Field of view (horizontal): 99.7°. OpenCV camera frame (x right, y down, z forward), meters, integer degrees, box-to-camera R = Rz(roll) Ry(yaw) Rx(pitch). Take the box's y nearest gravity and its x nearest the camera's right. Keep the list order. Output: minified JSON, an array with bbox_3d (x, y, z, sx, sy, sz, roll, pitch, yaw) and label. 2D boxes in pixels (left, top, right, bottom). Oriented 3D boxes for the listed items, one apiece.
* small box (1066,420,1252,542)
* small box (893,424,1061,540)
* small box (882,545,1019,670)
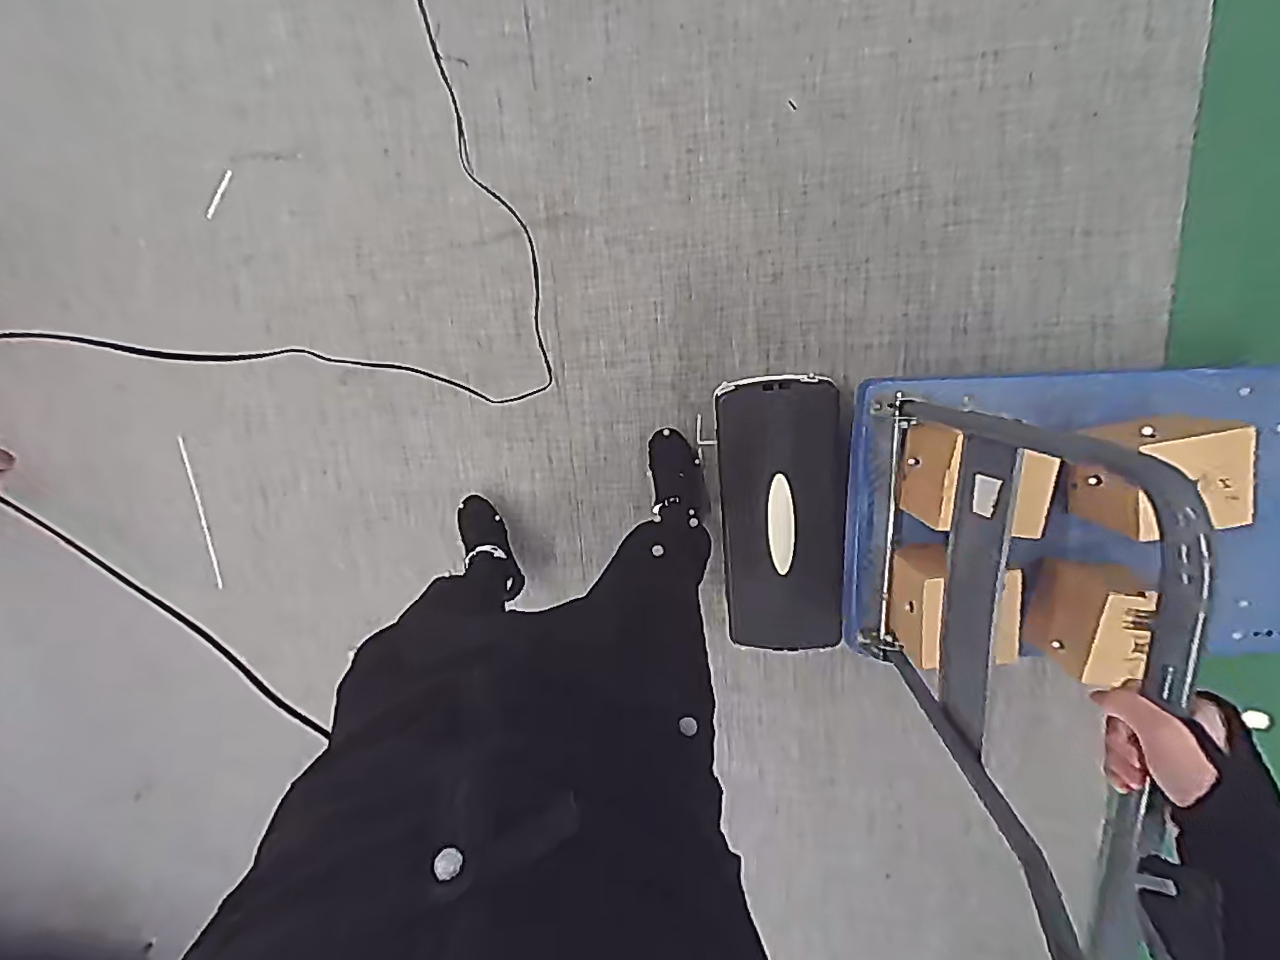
[{"bbox_3d":[0.886,-0.005,0.943,0.179,0.176,0.168,-10,103,5],"label":"small box"},{"bbox_3d":[0.582,-0.004,0.957,0.179,0.176,0.168,5,103,2],"label":"small box"},{"bbox_3d":[0.565,0.227,1.007,0.168,0.176,0.179,-4,103,4],"label":"small box"}]
